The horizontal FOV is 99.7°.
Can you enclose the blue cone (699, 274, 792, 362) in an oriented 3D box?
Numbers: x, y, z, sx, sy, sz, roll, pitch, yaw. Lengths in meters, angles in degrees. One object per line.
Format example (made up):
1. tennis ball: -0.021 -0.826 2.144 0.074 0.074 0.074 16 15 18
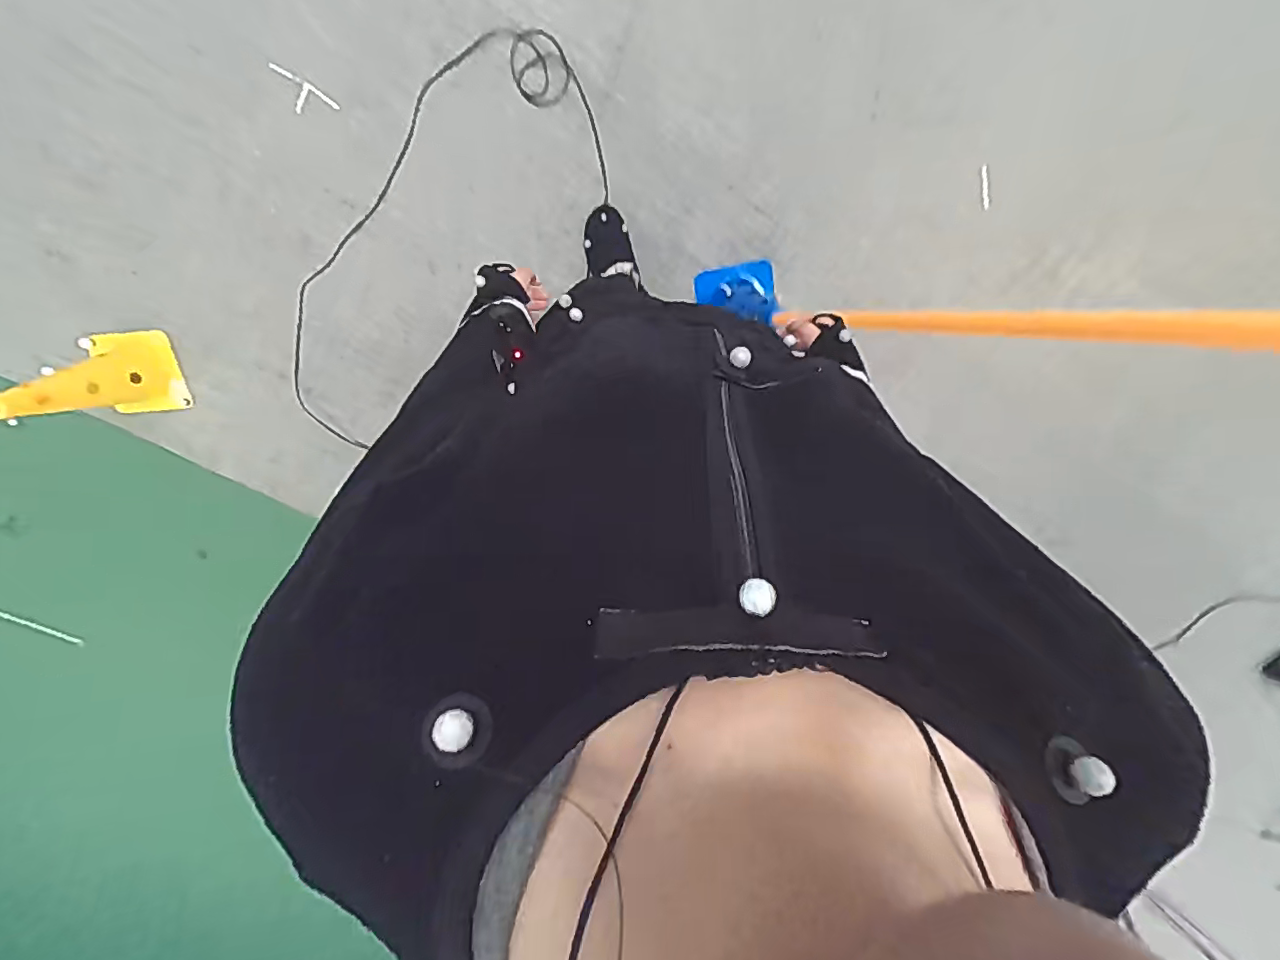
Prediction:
1. blue cone: 0.261 -0.349 1.211 0.193 0.380 0.192 -13 112 1
